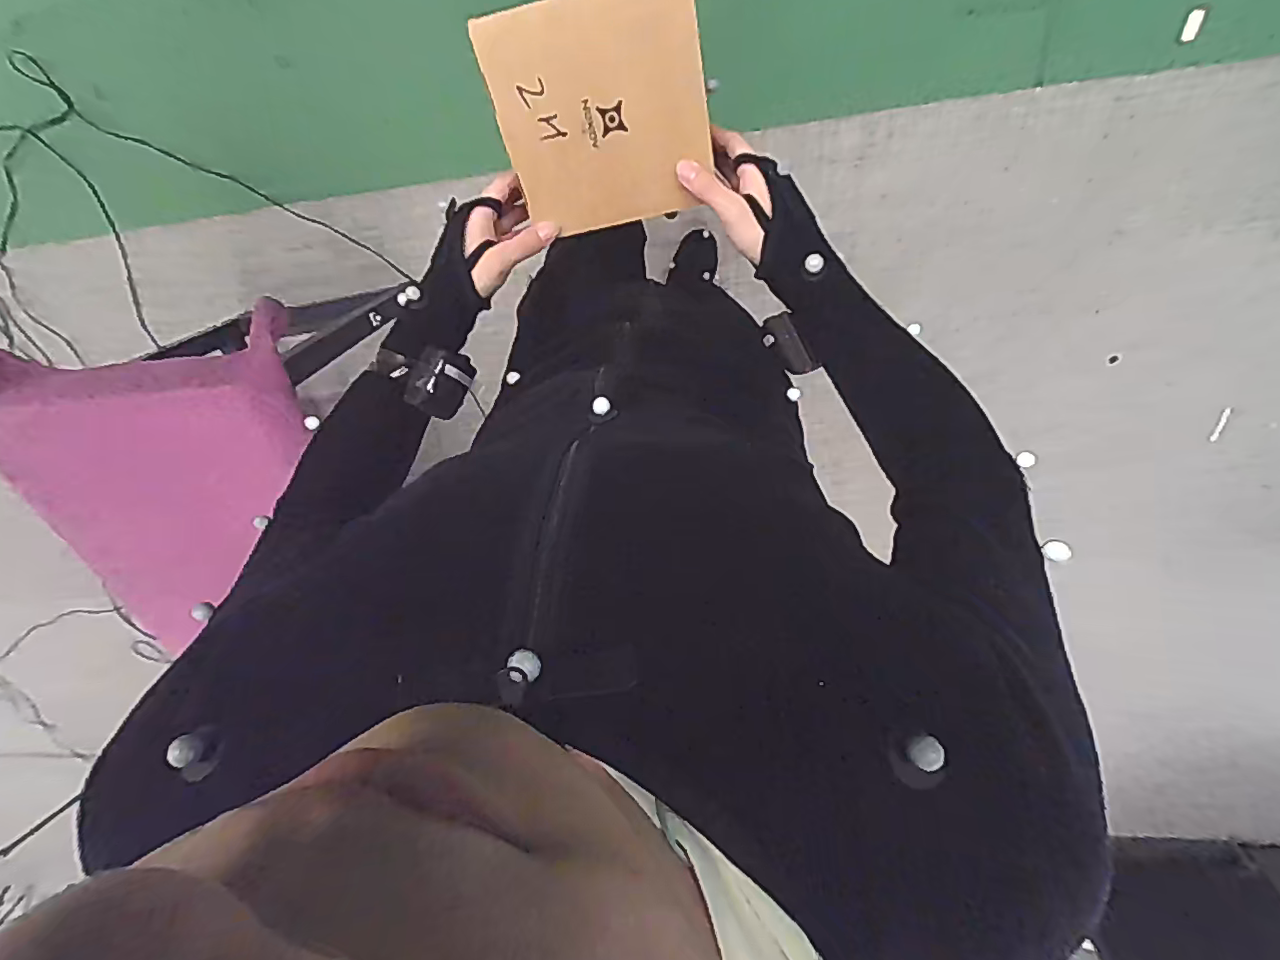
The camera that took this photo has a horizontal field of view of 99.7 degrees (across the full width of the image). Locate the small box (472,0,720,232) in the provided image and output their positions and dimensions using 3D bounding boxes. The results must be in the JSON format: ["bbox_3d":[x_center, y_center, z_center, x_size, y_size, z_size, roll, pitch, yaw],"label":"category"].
[{"bbox_3d":[-0.026,-0.359,0.506,0.179,0.176,0.168,-7,131,10],"label":"small box"}]
